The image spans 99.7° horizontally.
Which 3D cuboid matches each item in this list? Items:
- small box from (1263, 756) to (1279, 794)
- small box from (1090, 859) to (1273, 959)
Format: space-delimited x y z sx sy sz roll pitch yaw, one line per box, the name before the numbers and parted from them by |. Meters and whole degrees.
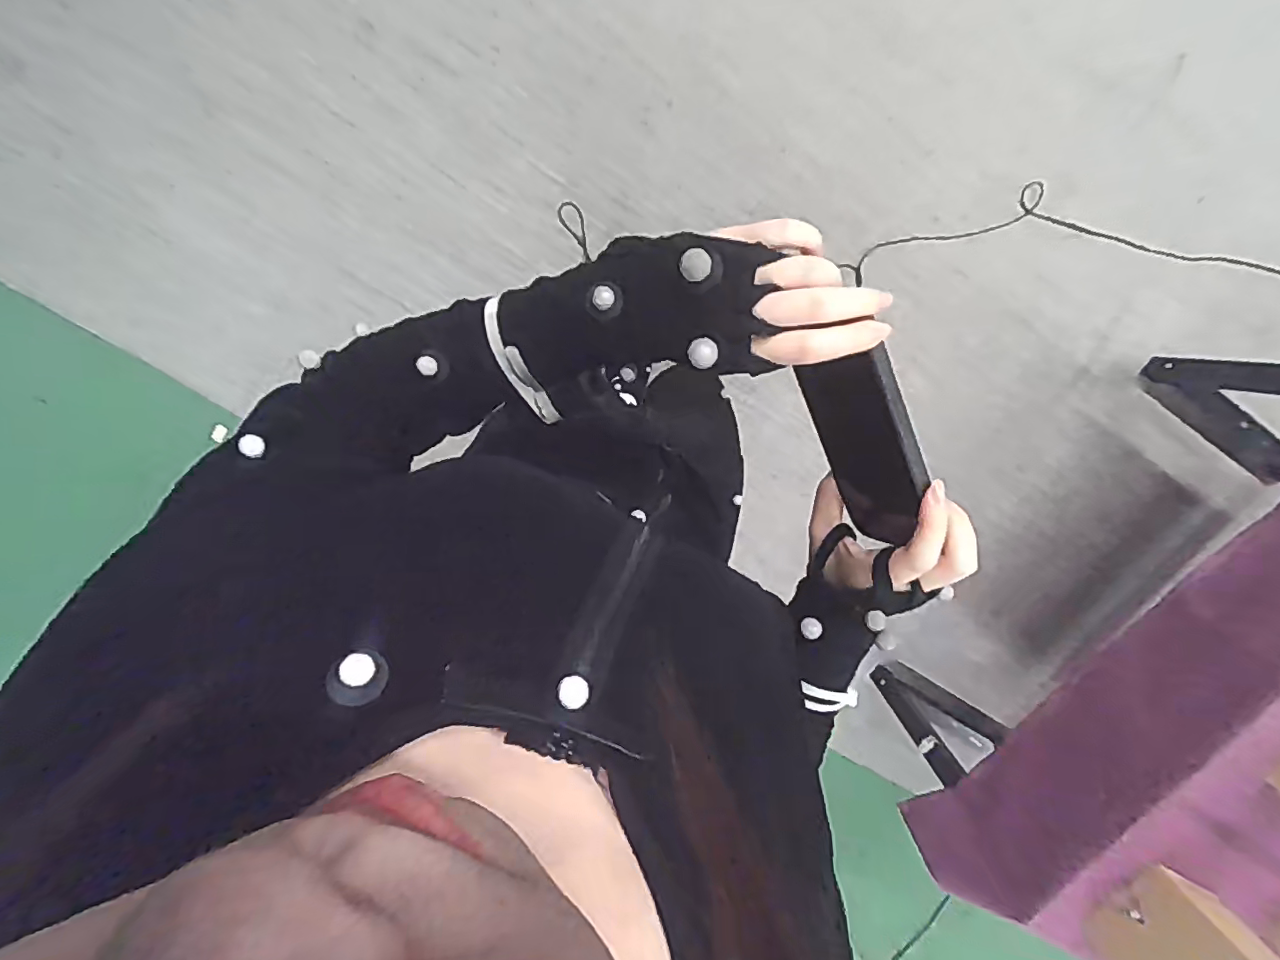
small box | 1.157 0.499 0.832 0.168 0.176 0.179 35 104 -10
small box | 0.925 0.801 0.917 0.168 0.176 0.179 31 104 -10
